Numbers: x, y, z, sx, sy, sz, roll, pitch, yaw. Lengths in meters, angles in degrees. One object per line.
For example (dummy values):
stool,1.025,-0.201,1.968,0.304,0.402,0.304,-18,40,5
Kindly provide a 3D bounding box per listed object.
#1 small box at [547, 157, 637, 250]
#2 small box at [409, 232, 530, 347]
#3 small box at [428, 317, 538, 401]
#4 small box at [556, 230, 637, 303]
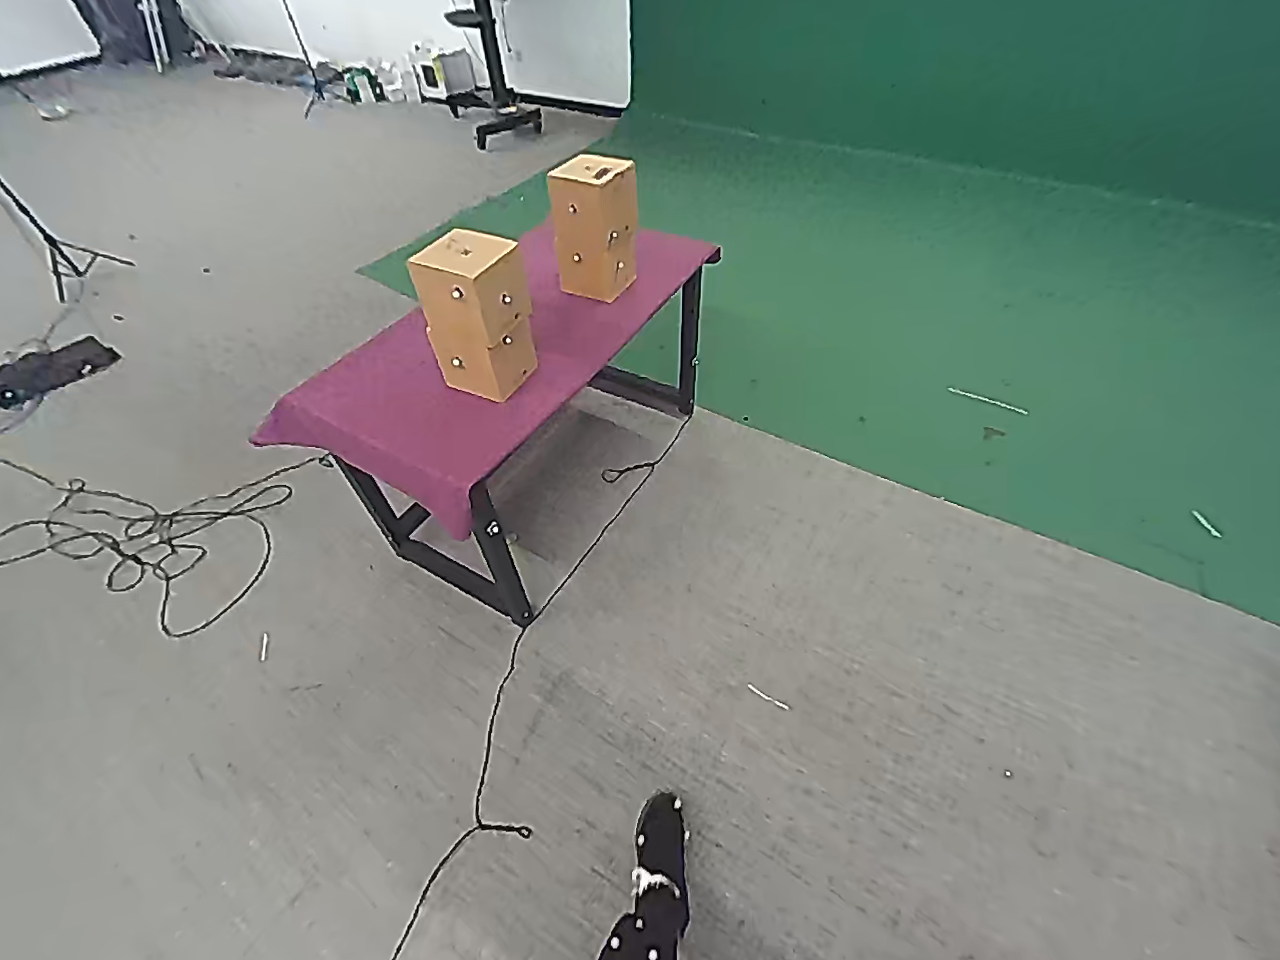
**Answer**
small box,-0.121,-0.750,1.473,0.179,0.176,0.168,24,55,23
small box,-0.367,-0.419,1.199,0.179,0.176,0.168,20,52,18
small box,-0.378,-0.317,1.331,0.179,0.176,0.168,19,53,18
small box,-0.121,-0.646,1.602,0.179,0.176,0.168,21,54,21
